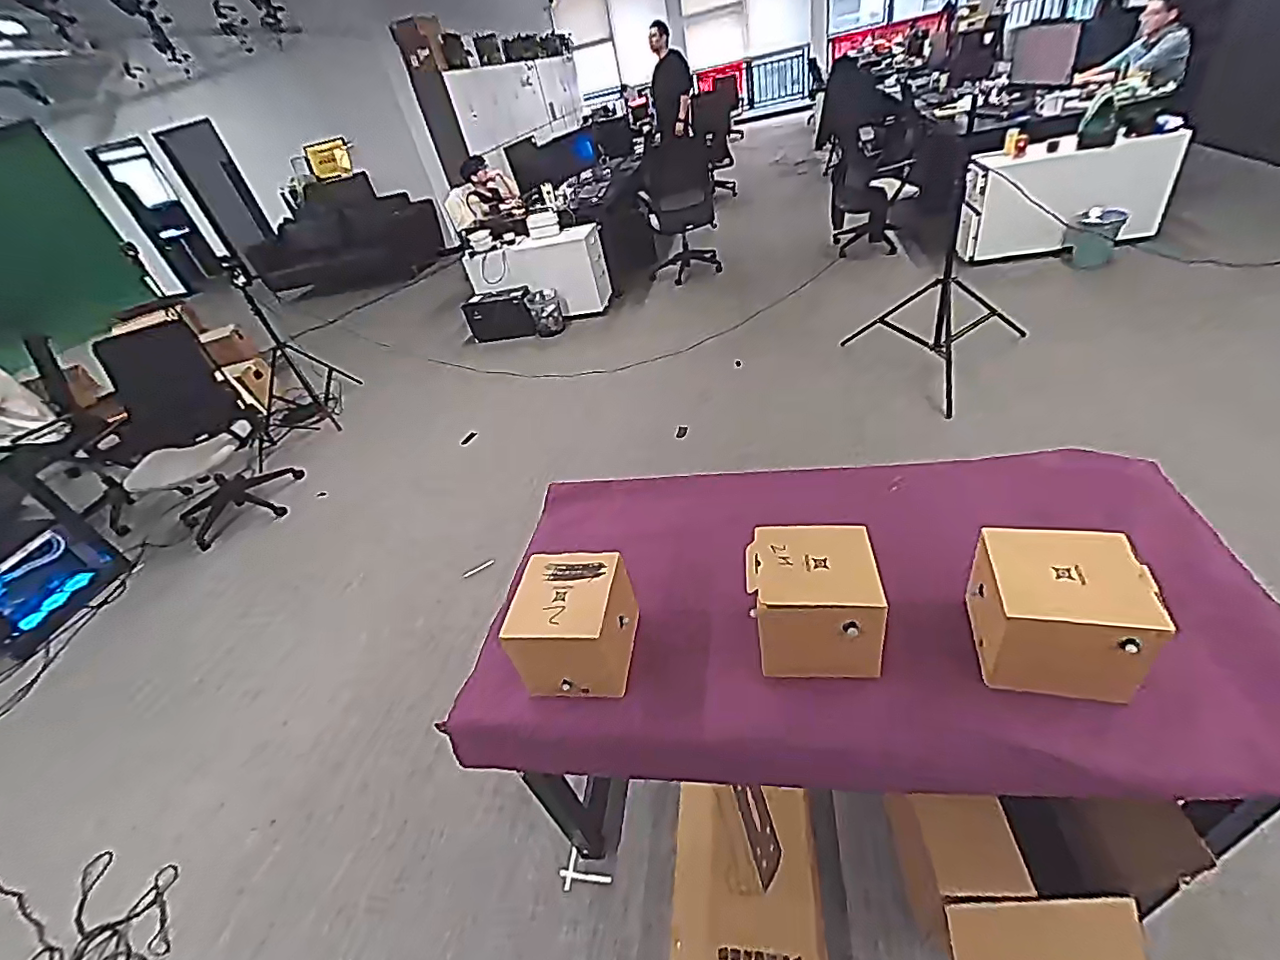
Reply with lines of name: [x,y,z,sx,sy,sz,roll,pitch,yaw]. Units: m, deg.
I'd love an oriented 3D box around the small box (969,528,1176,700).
small box: [0.582,0.186,0.763,0.179,0.176,0.168,1,39,19]

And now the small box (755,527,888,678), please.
small box: [0.277,0.194,0.853,0.179,0.176,0.168,-4,36,13]
